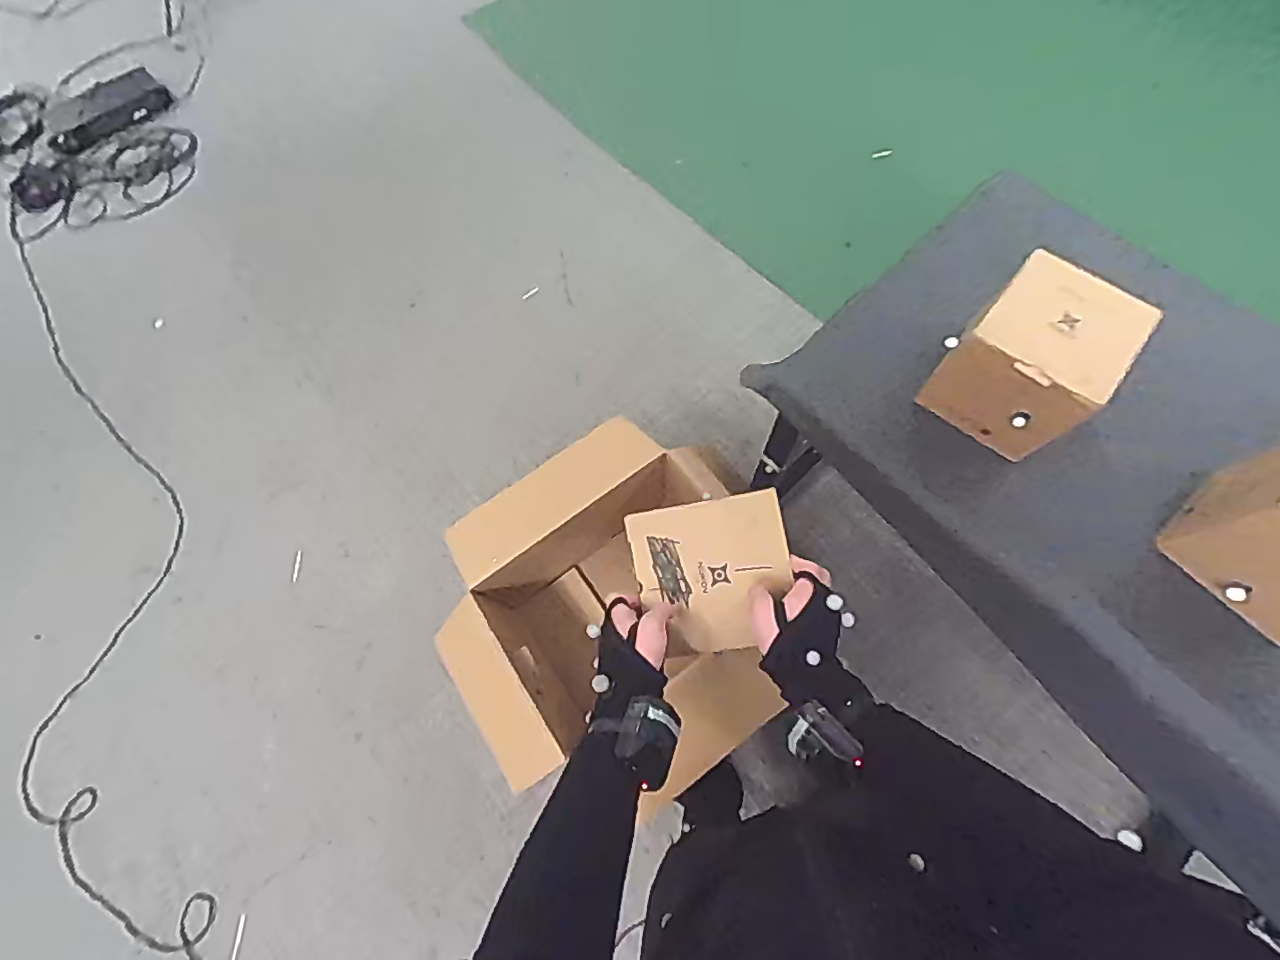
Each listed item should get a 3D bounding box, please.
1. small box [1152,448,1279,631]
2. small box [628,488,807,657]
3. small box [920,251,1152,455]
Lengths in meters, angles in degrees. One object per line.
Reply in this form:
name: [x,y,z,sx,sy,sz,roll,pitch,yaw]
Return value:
small box: [0.792,0.065,0.639,0.168,0.176,0.179,-39,73,-11]
small box: [0.097,0.112,0.675,0.179,0.176,0.168,-12,82,9]
small box: [0.520,-0.163,0.741,0.168,0.176,0.179,37,74,13]
